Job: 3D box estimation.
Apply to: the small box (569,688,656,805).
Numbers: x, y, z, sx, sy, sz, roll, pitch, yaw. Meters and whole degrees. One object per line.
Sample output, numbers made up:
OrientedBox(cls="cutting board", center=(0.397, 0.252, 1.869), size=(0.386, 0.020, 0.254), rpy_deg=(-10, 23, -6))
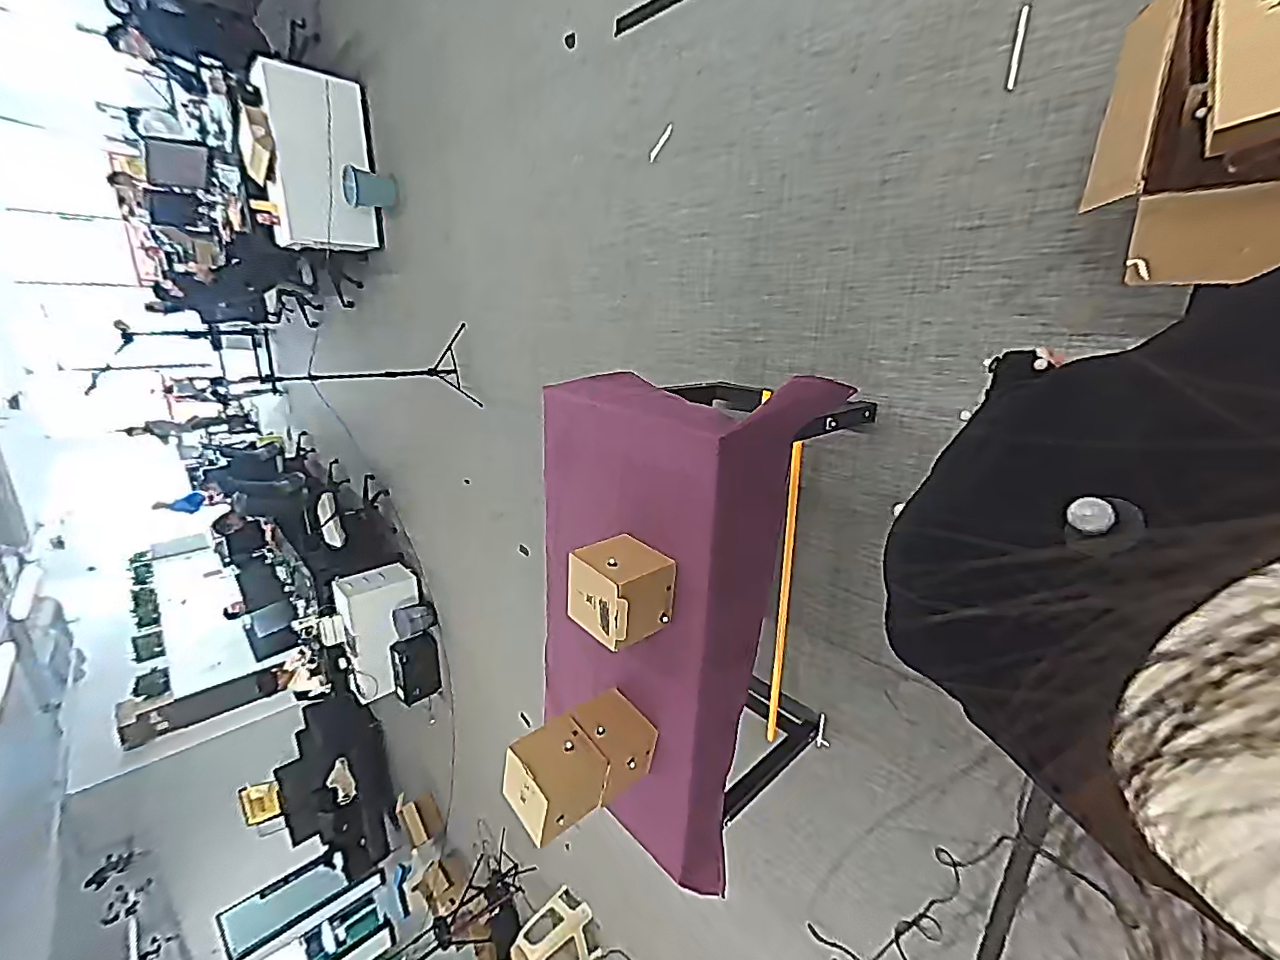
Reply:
OrientedBox(cls="small box", center=(-0.082, 0.670, 1.382), size=(0.179, 0.176, 0.168), rpy_deg=(33, 123, 38))

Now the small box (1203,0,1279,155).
OrientedBox(cls="small box", center=(0.912, -0.584, 0.743), size=(0.179, 0.176, 0.168), rpy_deg=(-12, 95, 45))

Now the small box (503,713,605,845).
OrientedBox(cls="small box", center=(-0.202, 0.695, 1.274), size=(0.168, 0.176, 0.179), rpy_deg=(33, 123, 37))

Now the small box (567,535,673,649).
OrientedBox(cls="small box", center=(-0.045, 0.239, 1.213), size=(0.179, 0.176, 0.168), rpy_deg=(24, 118, 43))
